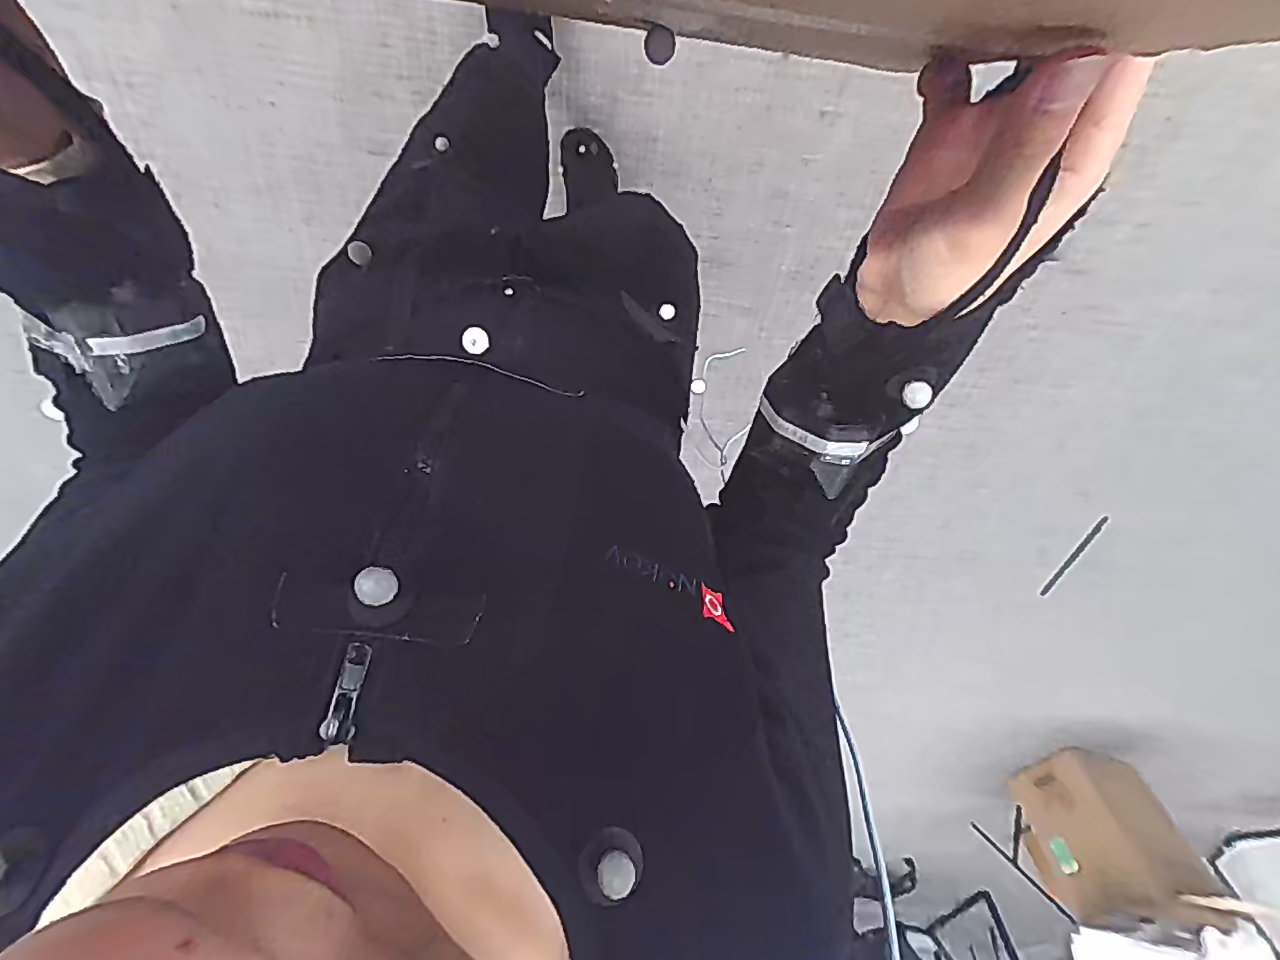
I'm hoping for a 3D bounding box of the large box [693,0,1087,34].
[{"bbox_3d":[-0.039,-0.293,0.064,0.408,0.320,0.320,5,126,-4],"label":"large box"}]
